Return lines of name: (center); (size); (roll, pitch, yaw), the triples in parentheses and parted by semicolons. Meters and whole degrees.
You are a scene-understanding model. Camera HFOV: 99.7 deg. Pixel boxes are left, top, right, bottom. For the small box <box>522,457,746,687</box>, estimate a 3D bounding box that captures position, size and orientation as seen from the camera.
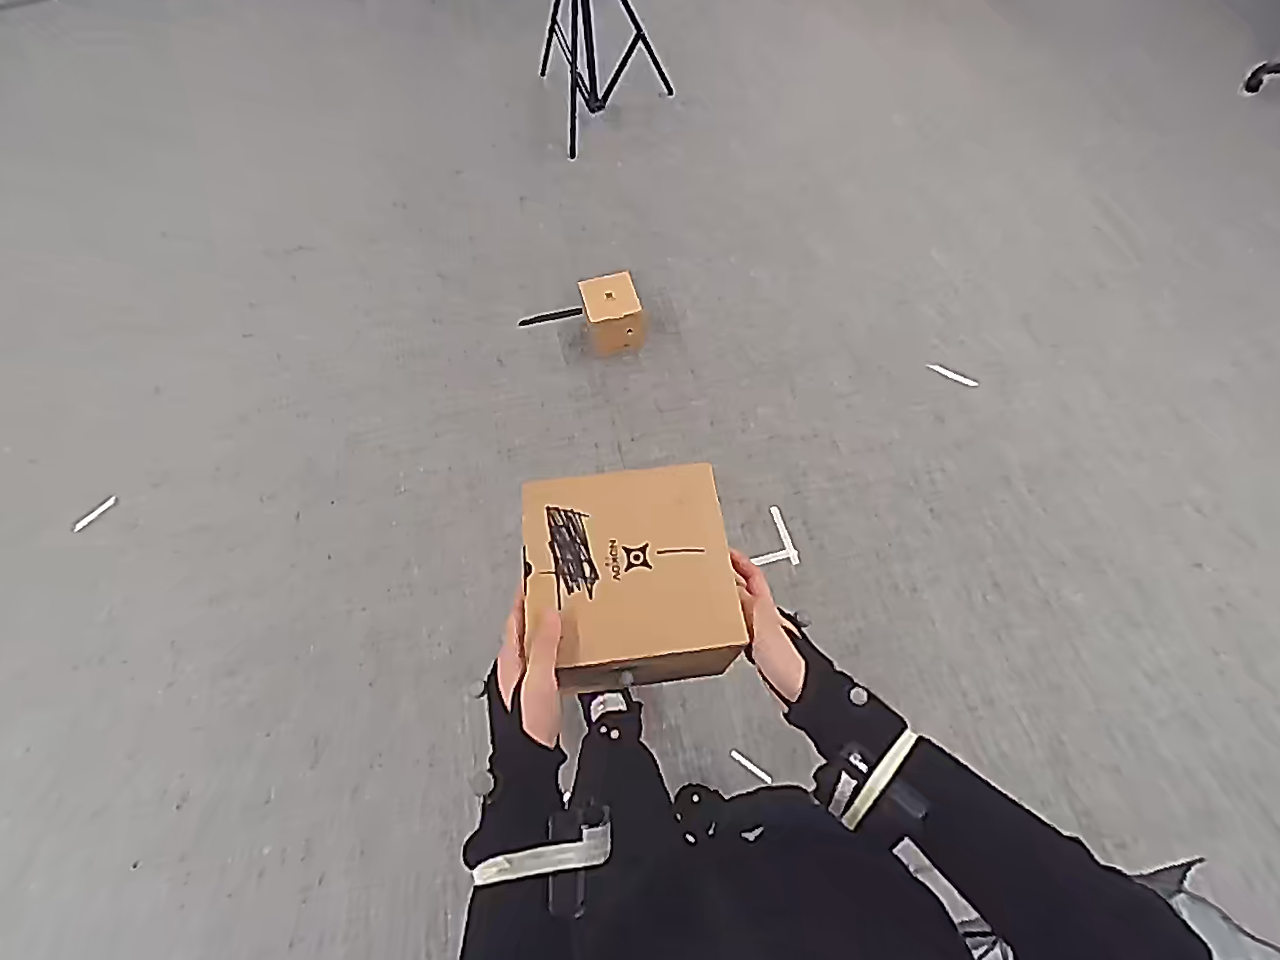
small box: (-0.010, 0.097, 0.523); (0.179, 0.176, 0.168); (-6, 63, -3)
